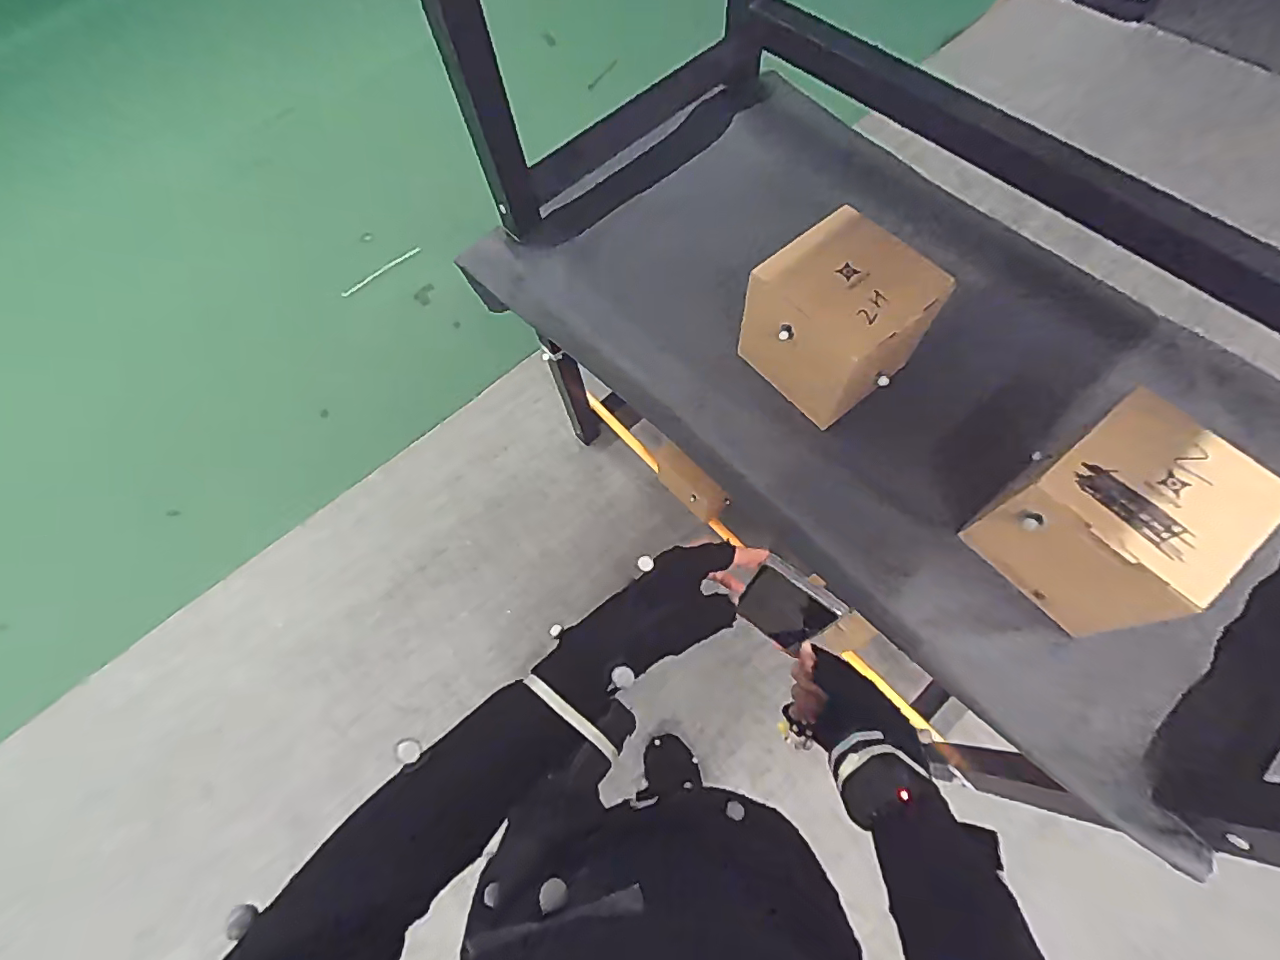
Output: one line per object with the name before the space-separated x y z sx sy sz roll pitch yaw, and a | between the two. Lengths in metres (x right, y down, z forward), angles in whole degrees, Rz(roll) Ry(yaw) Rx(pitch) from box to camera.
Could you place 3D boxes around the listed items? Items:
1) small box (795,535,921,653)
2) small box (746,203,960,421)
small box | 0.458 0.254 1.171 0.179 0.176 0.168 -37 70 -11
small box | 0.257 -0.210 0.705 0.168 0.176 0.179 -38 69 -11
